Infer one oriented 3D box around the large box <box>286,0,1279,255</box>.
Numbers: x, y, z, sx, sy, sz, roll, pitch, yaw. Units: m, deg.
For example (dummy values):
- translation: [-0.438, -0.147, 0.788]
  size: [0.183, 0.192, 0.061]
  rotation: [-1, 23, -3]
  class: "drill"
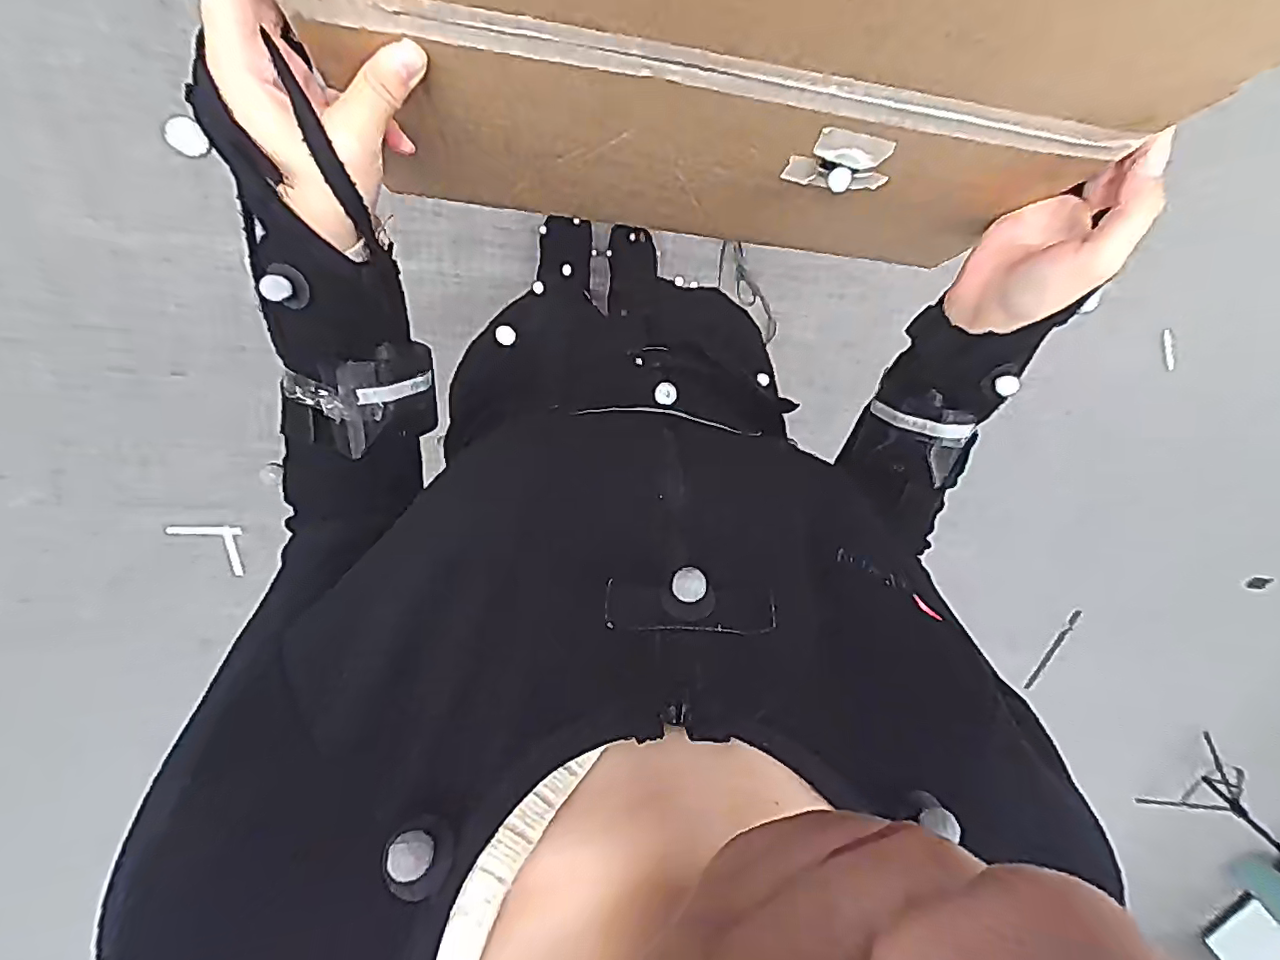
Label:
- translation: [0.053, -0.339, 0.252]
  size: [0.408, 0.320, 0.320]
  rotation: [3, 90, -8]
  class: "large box"
